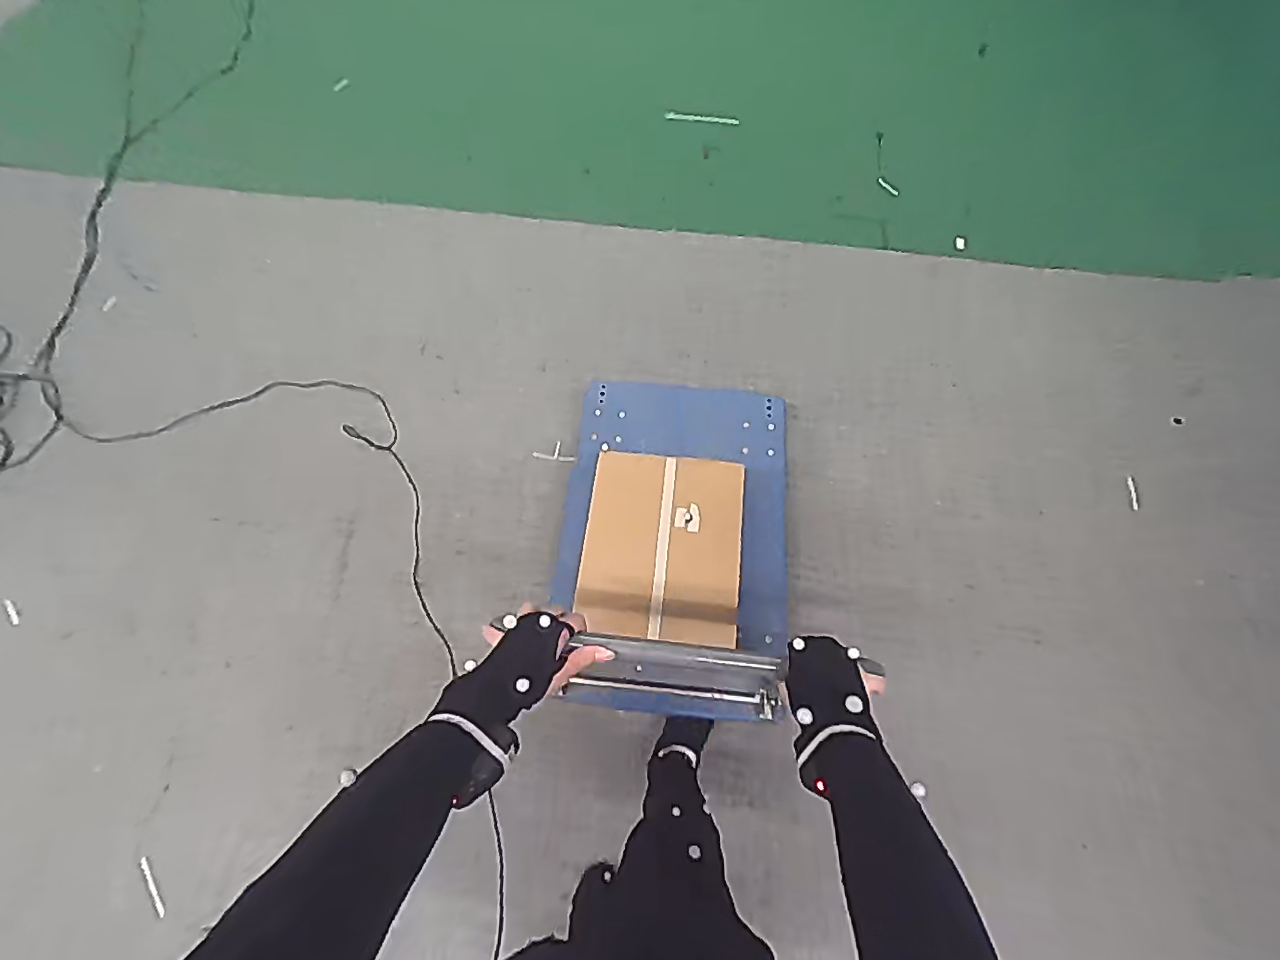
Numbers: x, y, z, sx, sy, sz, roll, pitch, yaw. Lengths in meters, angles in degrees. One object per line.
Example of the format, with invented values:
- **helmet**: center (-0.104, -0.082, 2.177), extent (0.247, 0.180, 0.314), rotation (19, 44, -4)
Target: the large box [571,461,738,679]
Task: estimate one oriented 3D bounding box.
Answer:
- **large box**: center (0.042, 0.213, 1.217), extent (0.320, 0.320, 0.408), rotation (6, 65, 2)
